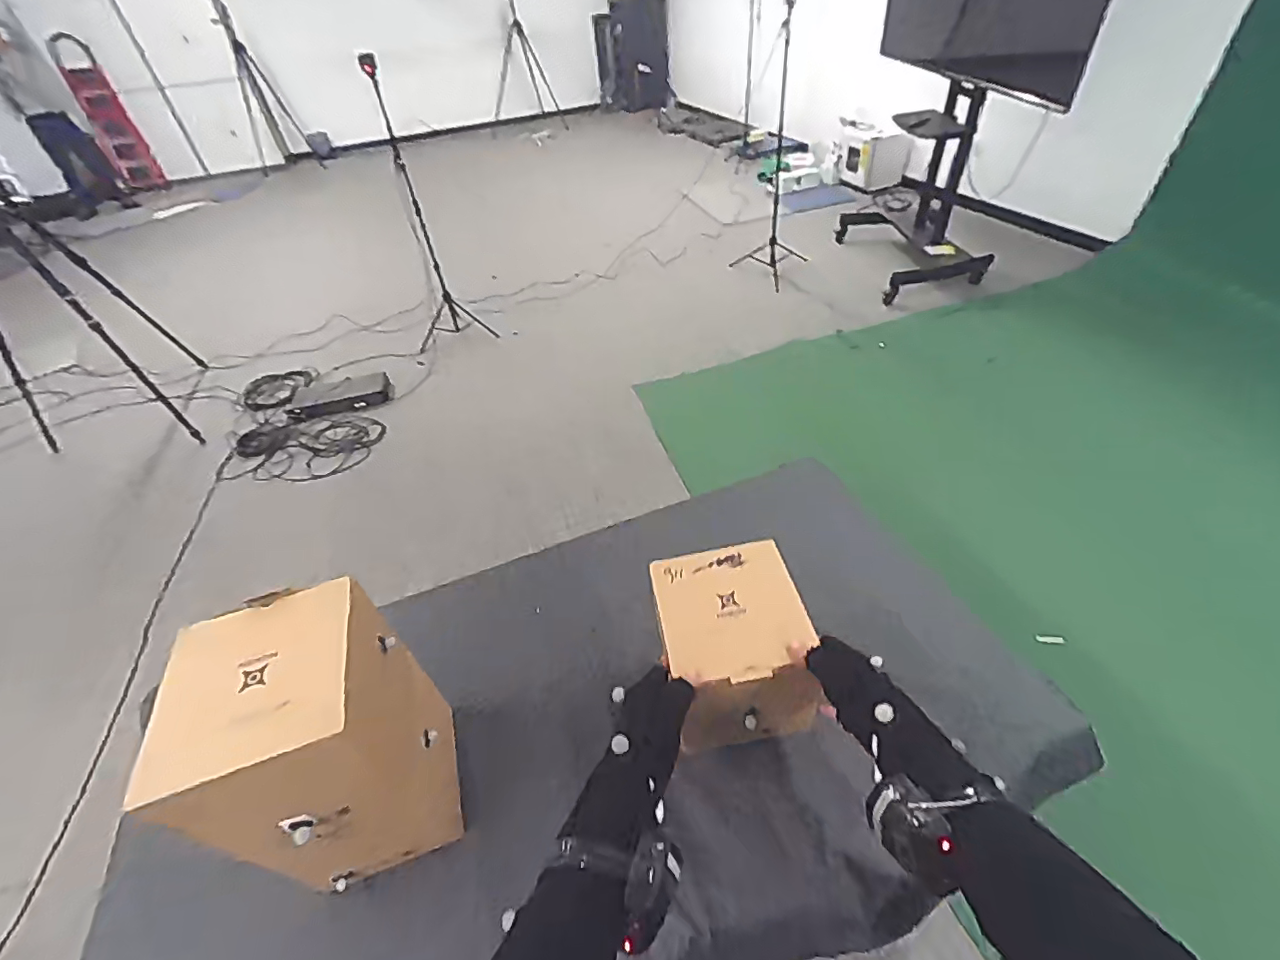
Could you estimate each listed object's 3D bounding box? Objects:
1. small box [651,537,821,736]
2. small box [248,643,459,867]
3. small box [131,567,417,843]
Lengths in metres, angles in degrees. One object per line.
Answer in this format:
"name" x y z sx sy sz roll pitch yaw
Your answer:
"small box" 0.113 0.202 0.681 0.168 0.176 0.179 -10 42 -1
"small box" -0.331 0.339 0.660 0.168 0.176 0.179 -16 43 -11
"small box" -0.340 0.224 0.546 0.168 0.176 0.179 -18 45 -11
